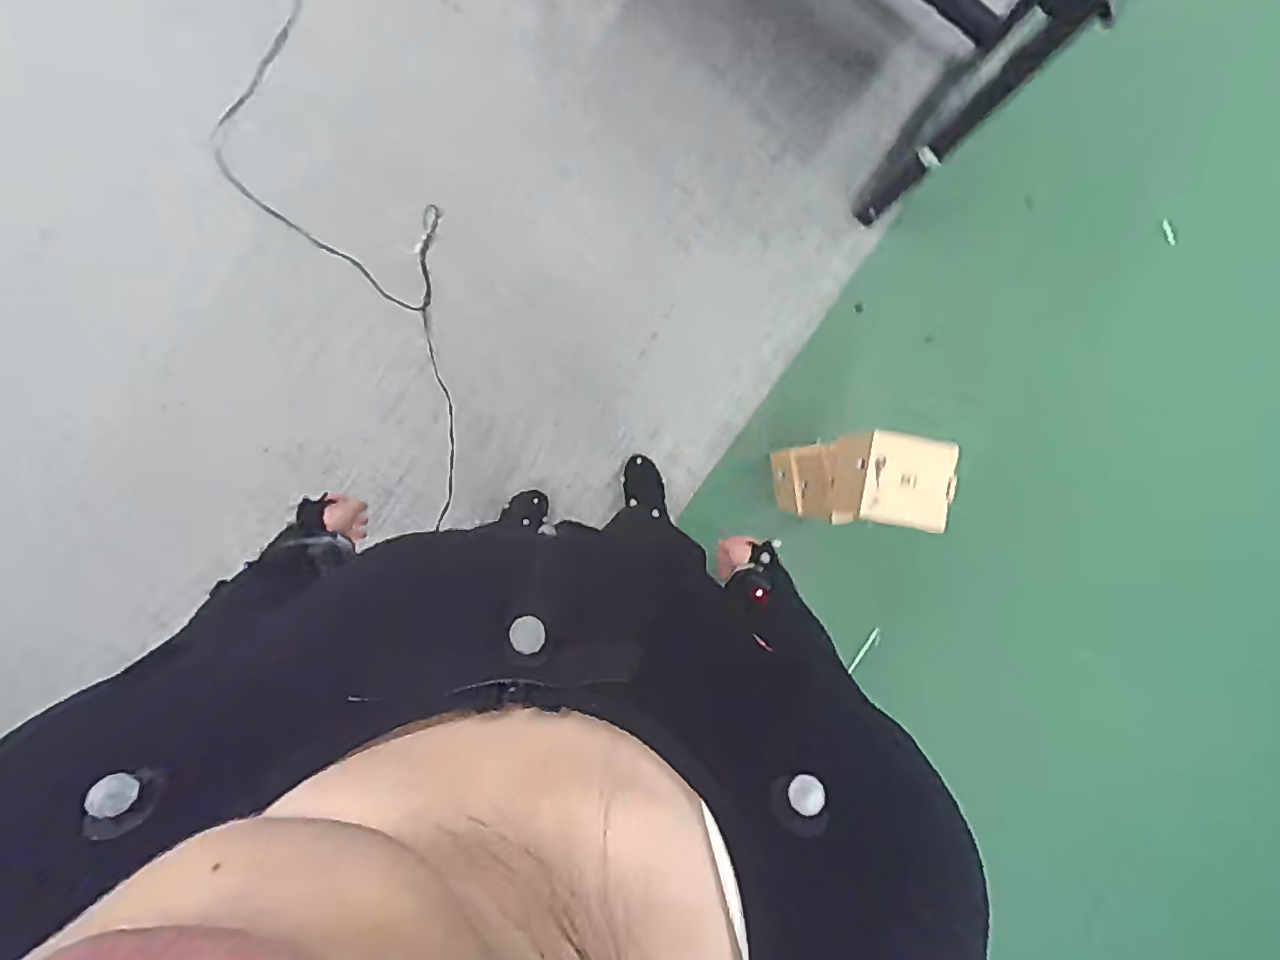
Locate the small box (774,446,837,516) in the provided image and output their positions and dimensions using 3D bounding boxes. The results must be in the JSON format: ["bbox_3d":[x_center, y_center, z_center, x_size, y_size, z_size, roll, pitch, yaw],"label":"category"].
[{"bbox_3d":[0.466,0.000,1.432,0.179,0.176,0.168,-8,91,-4],"label":"small box"}]

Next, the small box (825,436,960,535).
[{"bbox_3d":[0.507,0.009,1.105,0.179,0.176,0.168,11,90,-4],"label":"small box"}]
